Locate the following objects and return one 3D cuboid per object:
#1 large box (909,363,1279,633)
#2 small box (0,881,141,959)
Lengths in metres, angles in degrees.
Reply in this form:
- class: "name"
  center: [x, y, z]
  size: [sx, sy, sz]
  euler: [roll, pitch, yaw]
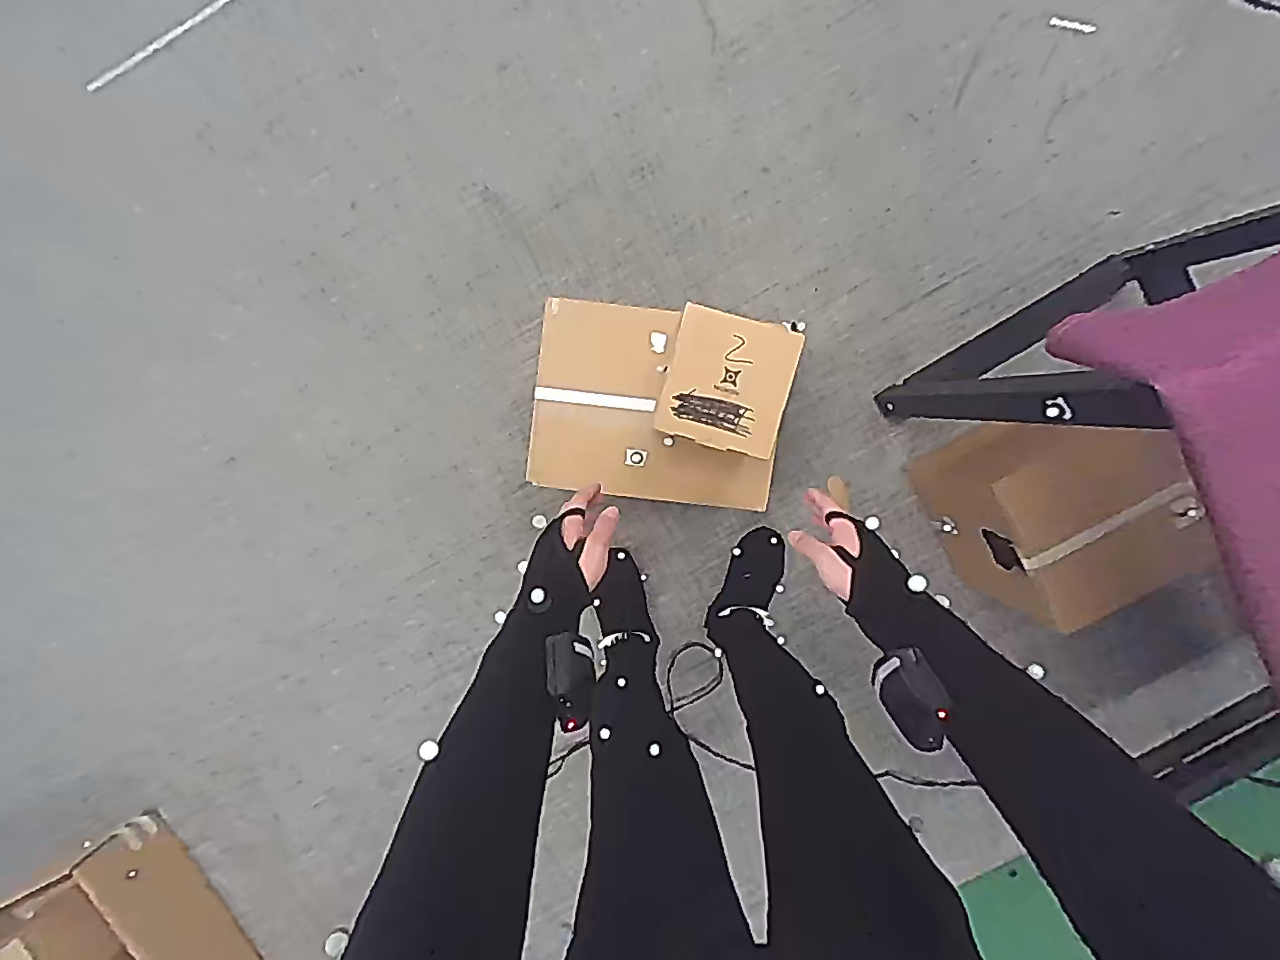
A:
- class: "large box"
  center: [0.833, 0.021, 1.051]
  size: [0.408, 0.320, 0.320]
  euler: [-30, 97, 3]
- class: "small box"
  center: [-1.301, 1.051, 1.211]
  size: [0.168, 0.176, 0.179]
  euler: [-33, 97, 4]
